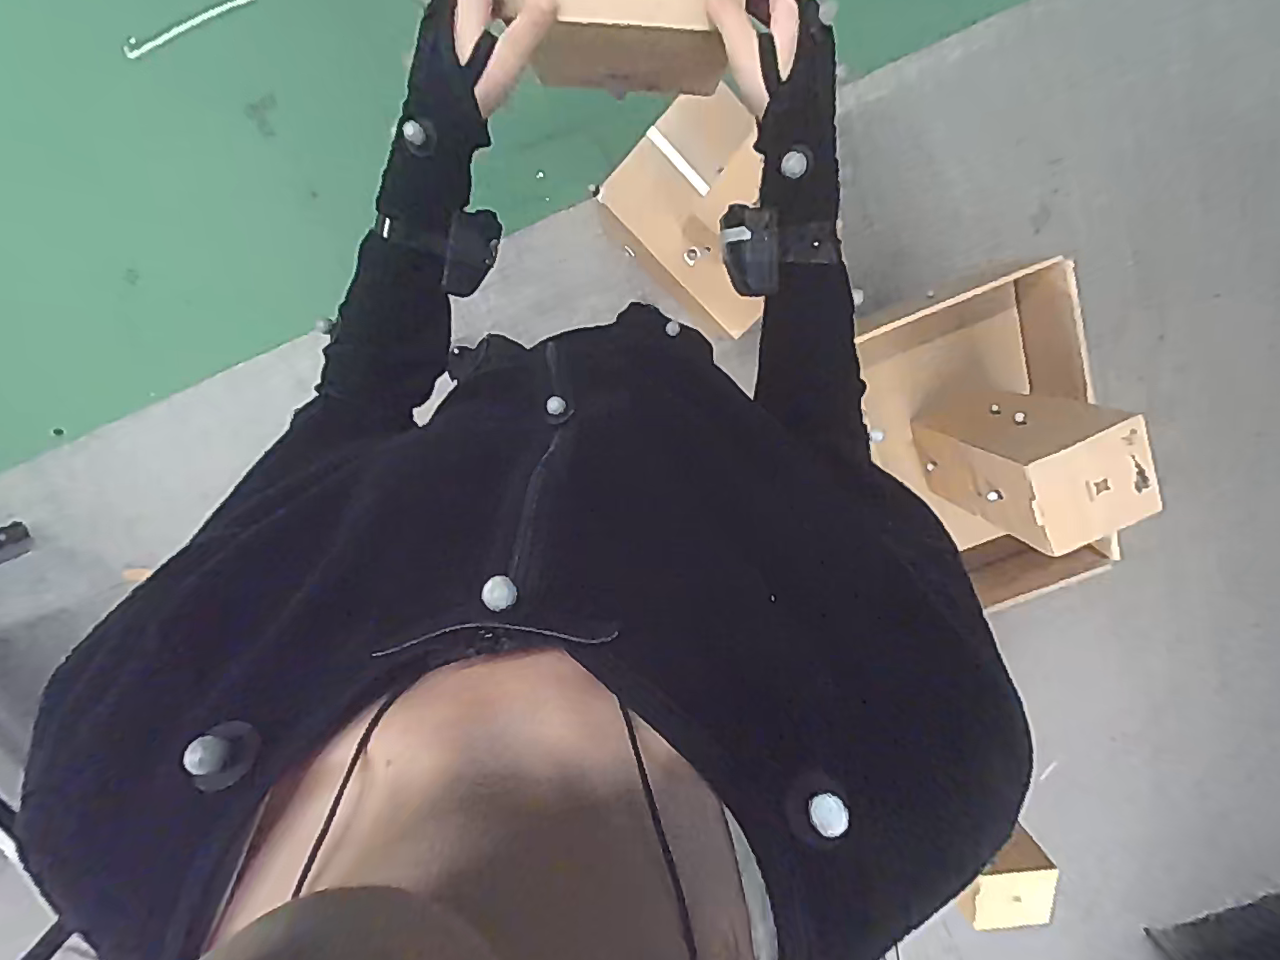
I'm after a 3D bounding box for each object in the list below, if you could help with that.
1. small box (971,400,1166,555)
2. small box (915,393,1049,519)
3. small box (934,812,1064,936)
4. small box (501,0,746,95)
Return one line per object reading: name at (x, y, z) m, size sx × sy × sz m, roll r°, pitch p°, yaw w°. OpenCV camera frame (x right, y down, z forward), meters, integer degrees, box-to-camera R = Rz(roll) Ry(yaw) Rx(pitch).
small box at (0.665, -0.011, 0.864) m, size 0.179 × 0.176 × 0.168 m, roll -25°, pitch 106°, yaw 6°
small box at (0.661, -0.054, 1.022) m, size 0.179 × 0.176 × 0.168 m, roll -23°, pitch 105°, yaw 4°
small box at (0.820, 0.902, 1.250) m, size 0.179 × 0.176 × 0.168 m, roll -4°, pitch 106°, yaw -1°
small box at (-0.008, -0.416, 0.400) m, size 0.168 × 0.176 × 0.179 m, roll 3°, pitch 113°, yaw -1°
